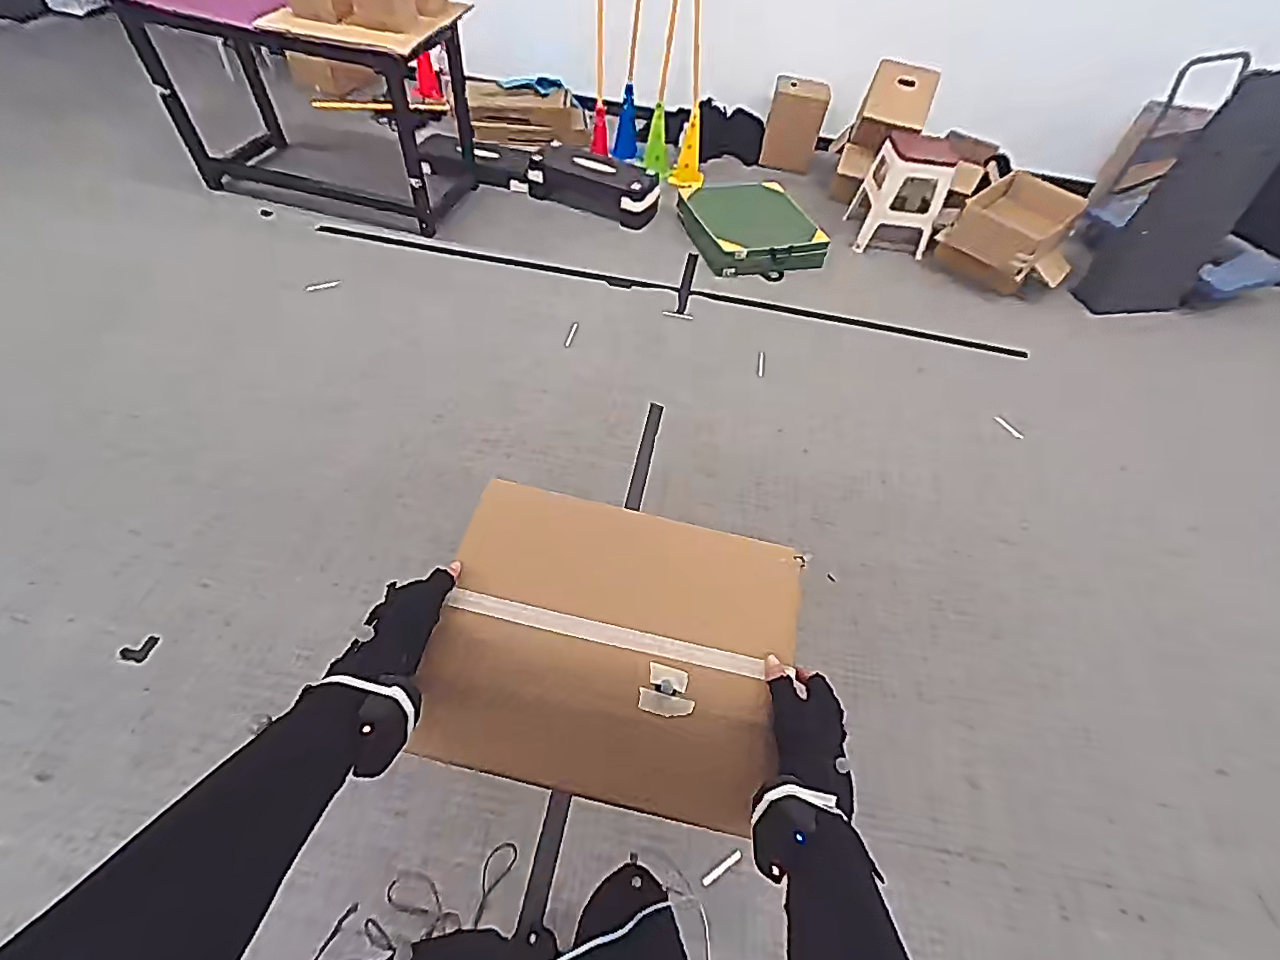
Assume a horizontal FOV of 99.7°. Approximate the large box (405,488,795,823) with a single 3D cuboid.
[{"bbox_3d":[-0.038,0.252,0.754,0.408,0.320,0.320,13,61,1],"label":"large box"}]
